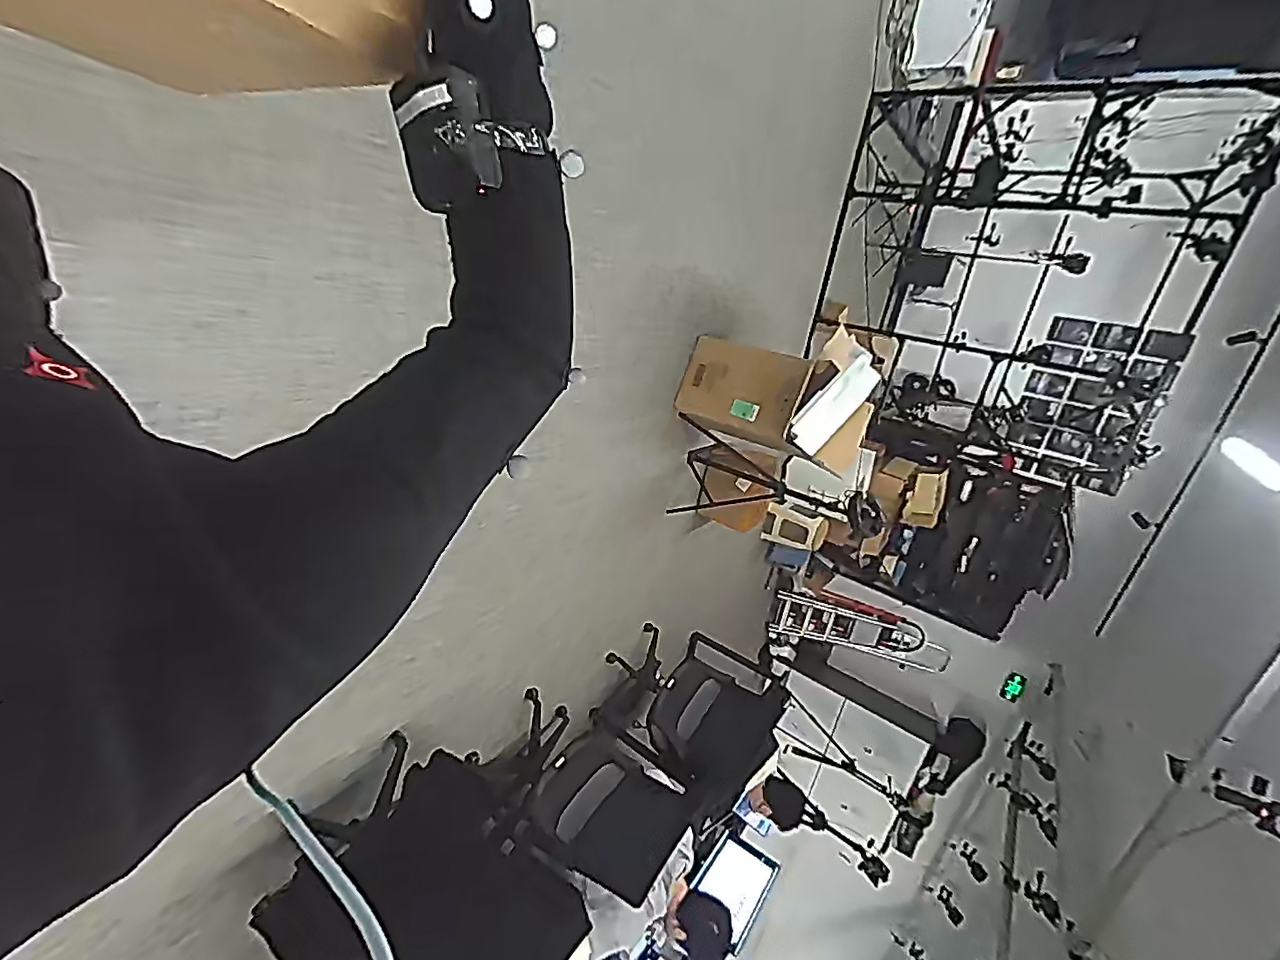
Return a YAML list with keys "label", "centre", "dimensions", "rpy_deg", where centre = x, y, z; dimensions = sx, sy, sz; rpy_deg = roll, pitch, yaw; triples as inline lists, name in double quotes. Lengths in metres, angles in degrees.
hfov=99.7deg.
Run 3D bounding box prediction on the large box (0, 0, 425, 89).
- label: "large box"
  centre: [-0.343, -0.409, 0.204]
  dimensions: [0.408, 0.320, 0.320]
  rpy_deg: [-18, 124, -59]
